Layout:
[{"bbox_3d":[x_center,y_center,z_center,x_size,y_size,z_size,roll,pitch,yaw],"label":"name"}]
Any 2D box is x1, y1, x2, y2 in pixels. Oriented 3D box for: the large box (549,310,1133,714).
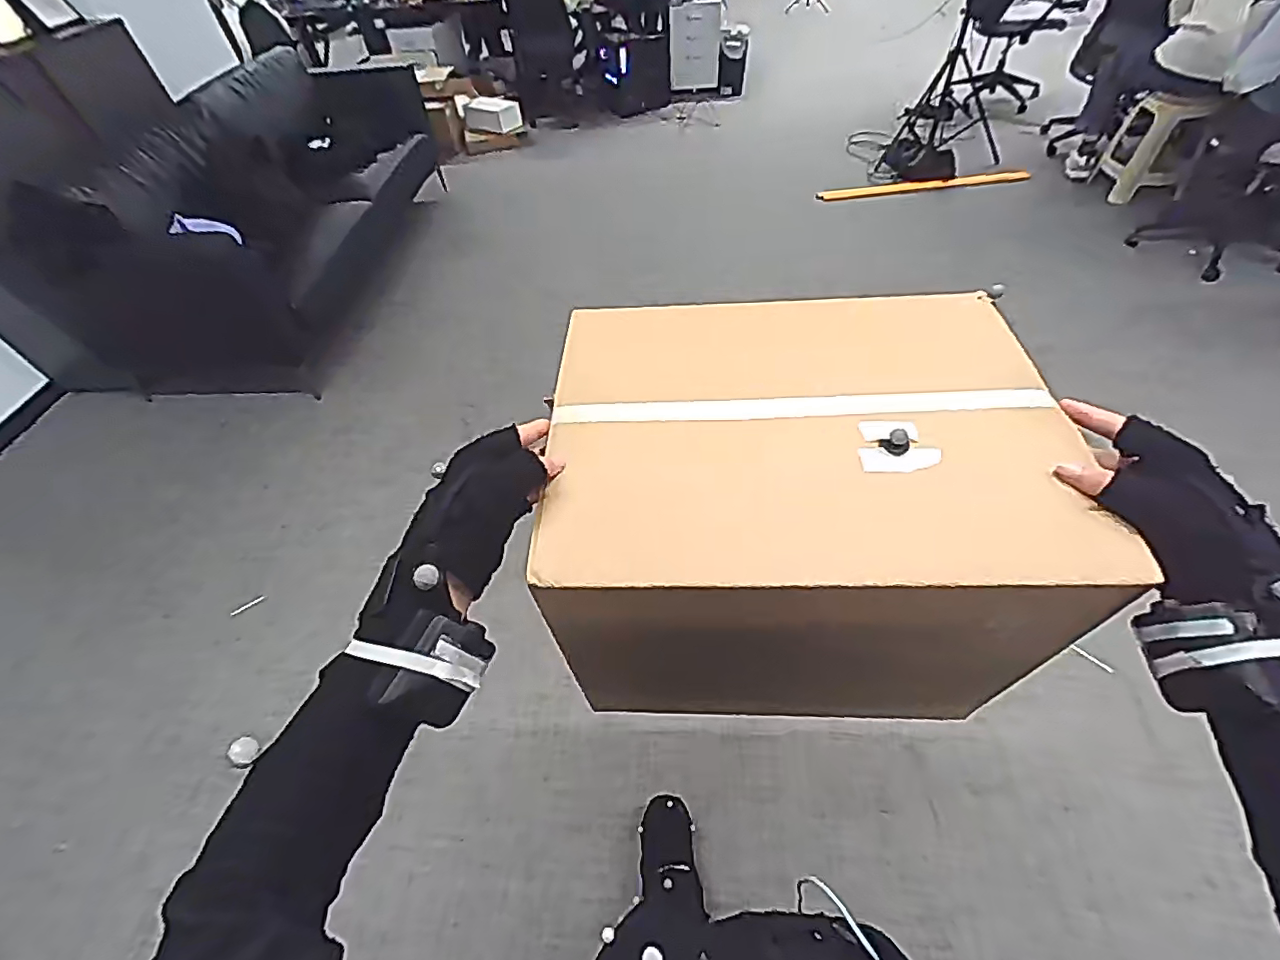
[{"bbox_3d":[0.142,0.045,0.576,0.408,0.320,0.320,-1,52,4],"label":"large box"}]
